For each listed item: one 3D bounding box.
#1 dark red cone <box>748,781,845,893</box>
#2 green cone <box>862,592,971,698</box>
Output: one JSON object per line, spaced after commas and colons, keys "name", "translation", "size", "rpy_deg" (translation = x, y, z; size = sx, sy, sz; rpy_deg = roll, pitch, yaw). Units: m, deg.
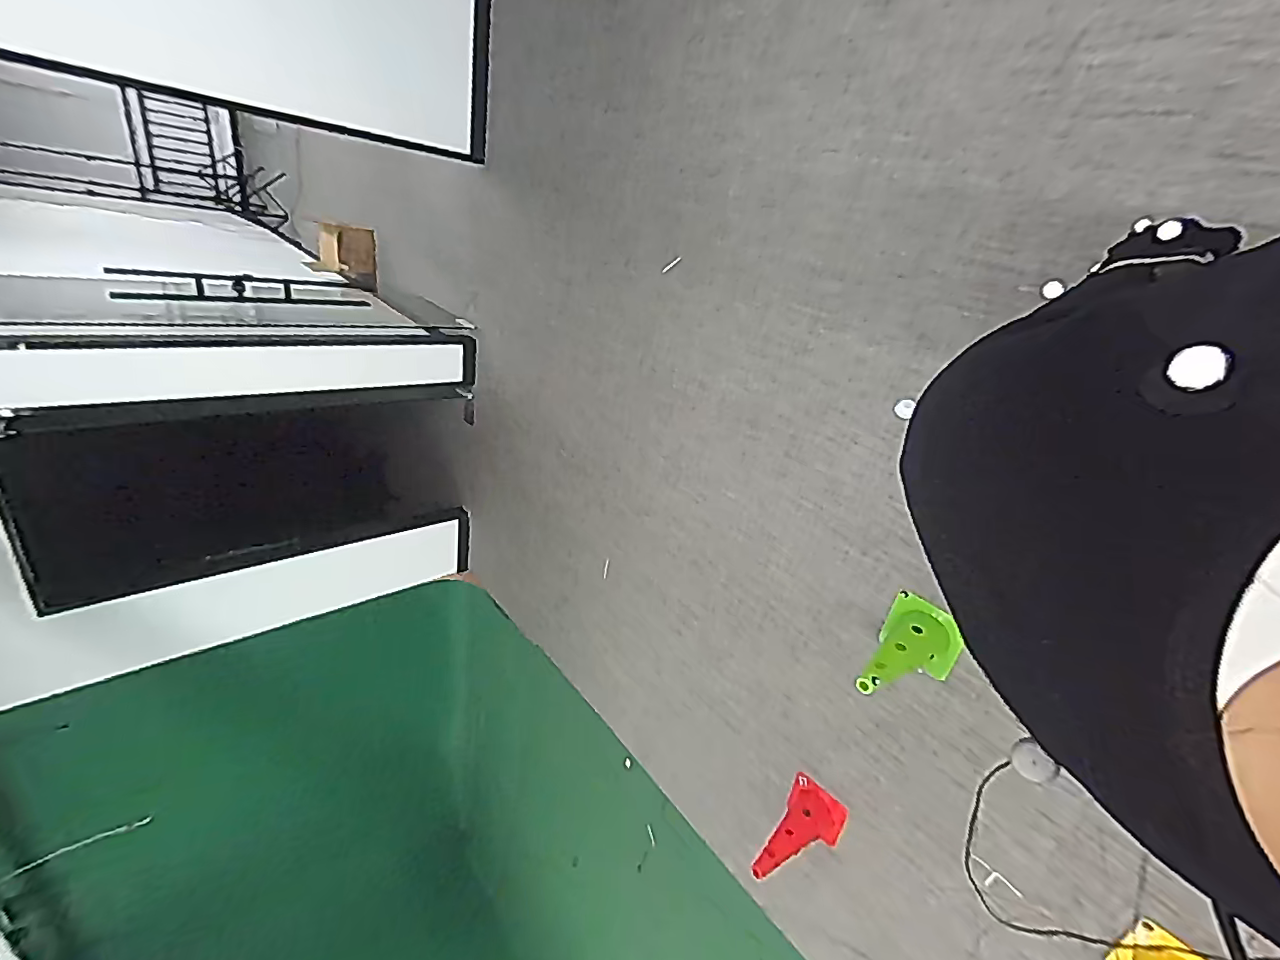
{"name": "dark red cone", "translation": [0.490, 1.211, 1.788], "size": [0.202, 0.394, 0.201], "rpy_deg": [28, 121, 42]}
{"name": "green cone", "translation": [0.676, 0.473, 1.417], "size": [0.202, 0.368, 0.200], "rpy_deg": [31, 123, 38]}
